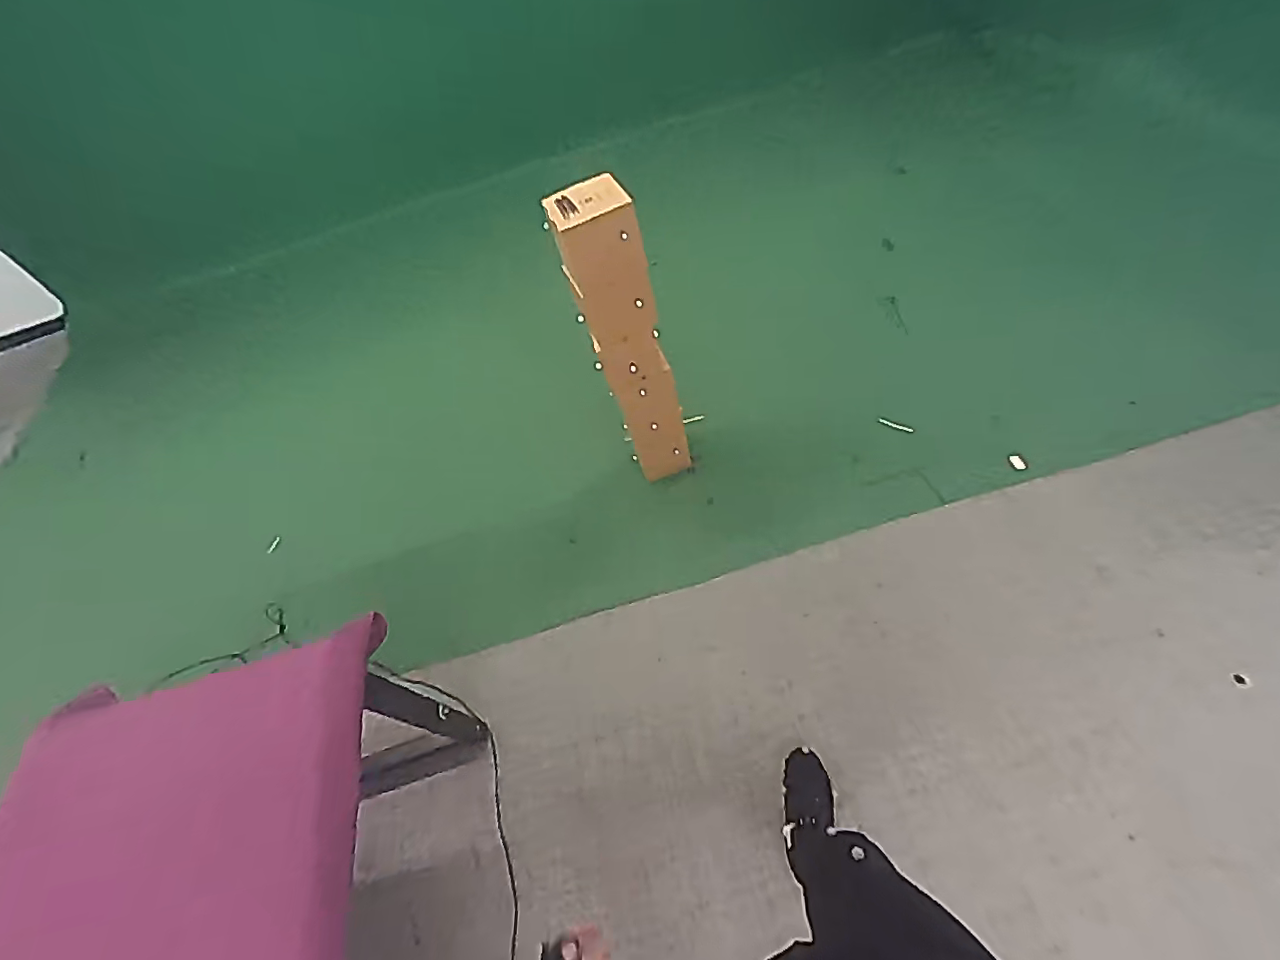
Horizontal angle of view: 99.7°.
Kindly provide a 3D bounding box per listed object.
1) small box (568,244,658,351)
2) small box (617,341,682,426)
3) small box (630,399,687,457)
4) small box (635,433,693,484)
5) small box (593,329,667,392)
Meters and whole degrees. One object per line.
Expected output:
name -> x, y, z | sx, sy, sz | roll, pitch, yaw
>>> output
small box -> -0.064, -0.473, 1.414 | 0.179, 0.176, 0.168 | -26, 53, -3
small box -> 0.014, -0.295, 1.676 | 0.179, 0.176, 0.168 | -21, 54, -1
small box -> 0.053, -0.206, 1.808 | 0.179, 0.176, 0.168 | -20, 54, 1
small box -> 0.086, -0.115, 1.938 | 0.179, 0.176, 0.168 | -20, 53, -1
small box -> -0.032, -0.372, 1.539 | 0.168, 0.176, 0.179 | -18, 54, 2
